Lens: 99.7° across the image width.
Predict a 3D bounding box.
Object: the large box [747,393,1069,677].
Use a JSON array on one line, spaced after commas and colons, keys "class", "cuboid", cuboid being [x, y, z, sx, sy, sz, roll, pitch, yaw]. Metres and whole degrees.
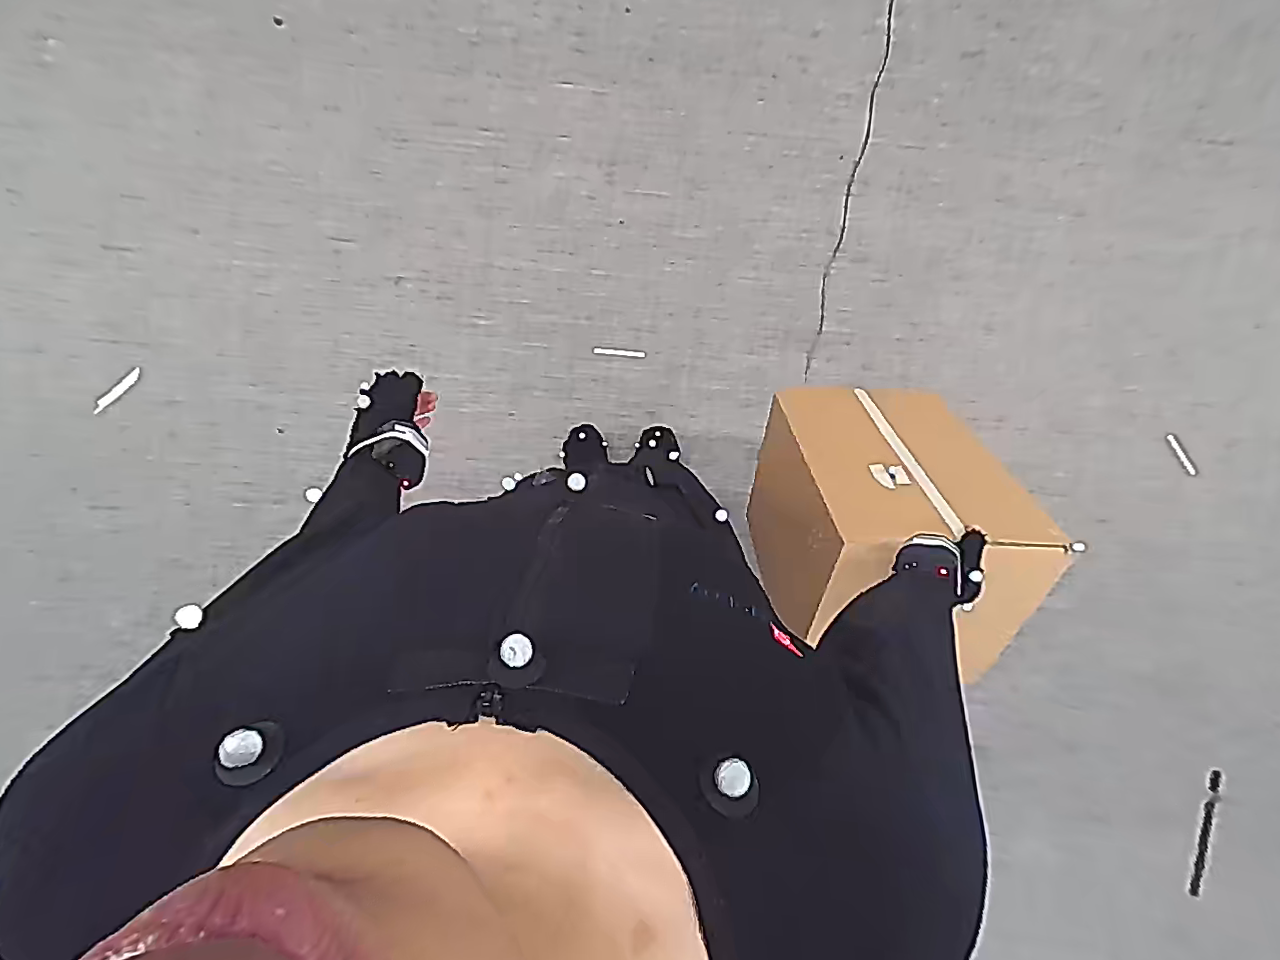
[{"class": "large box", "cuboid": [0.401, 0.085, 0.953, 0.320, 0.408, 0.320, 1, 129, -3]}]
